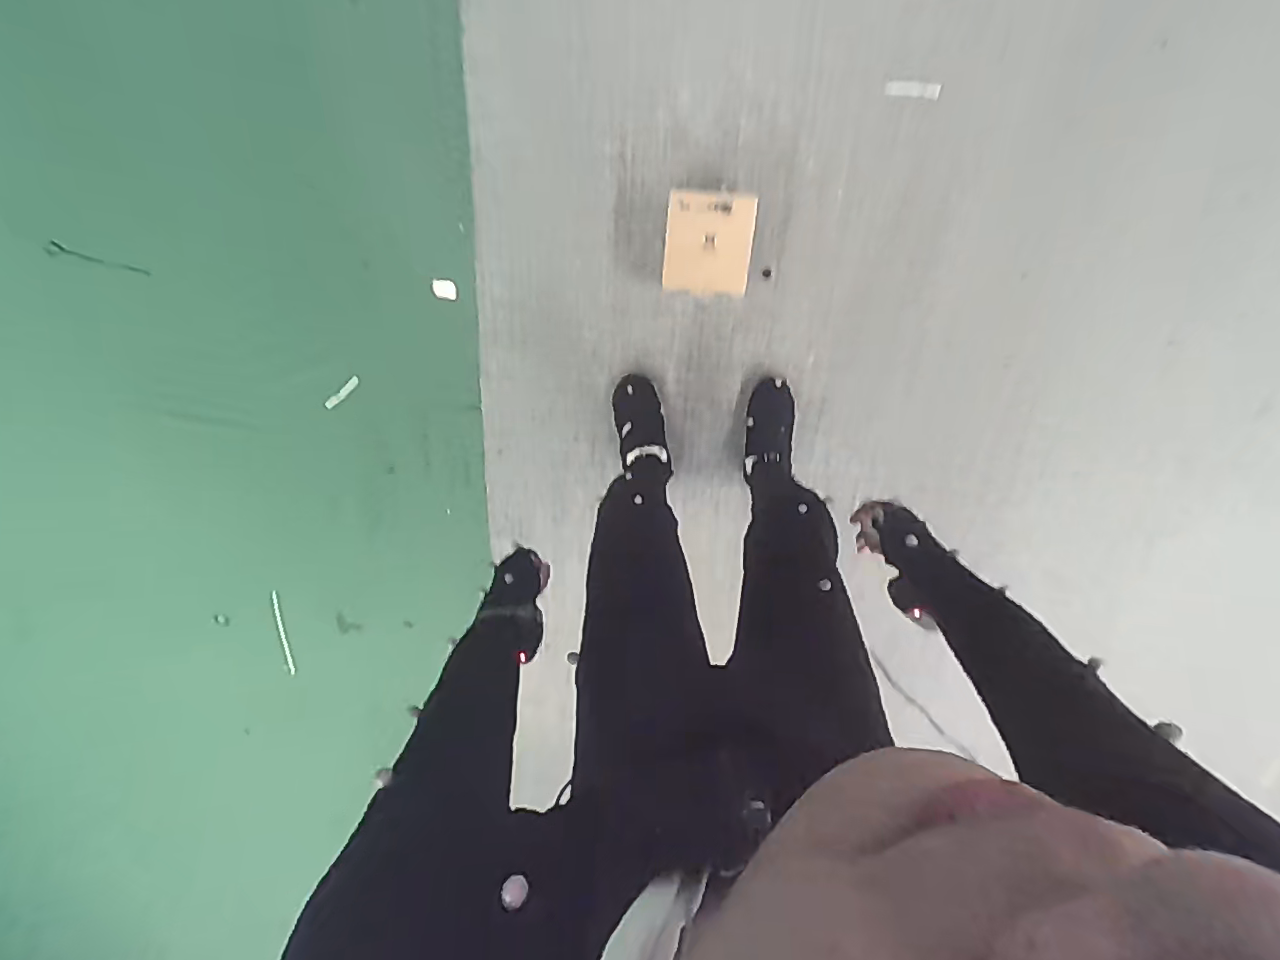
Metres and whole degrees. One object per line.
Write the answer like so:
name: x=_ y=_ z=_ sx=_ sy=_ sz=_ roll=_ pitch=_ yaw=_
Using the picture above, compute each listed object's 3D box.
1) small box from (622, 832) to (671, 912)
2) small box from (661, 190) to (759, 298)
small box: x=0.022 y=1.361 z=1.882 sx=0.168 sy=0.176 sz=0.179 roll=0 pitch=114 yaw=2
small box: x=0.134 y=-0.473 z=1.091 sx=0.168 sy=0.176 sz=0.179 roll=5 pitch=113 yaw=0
